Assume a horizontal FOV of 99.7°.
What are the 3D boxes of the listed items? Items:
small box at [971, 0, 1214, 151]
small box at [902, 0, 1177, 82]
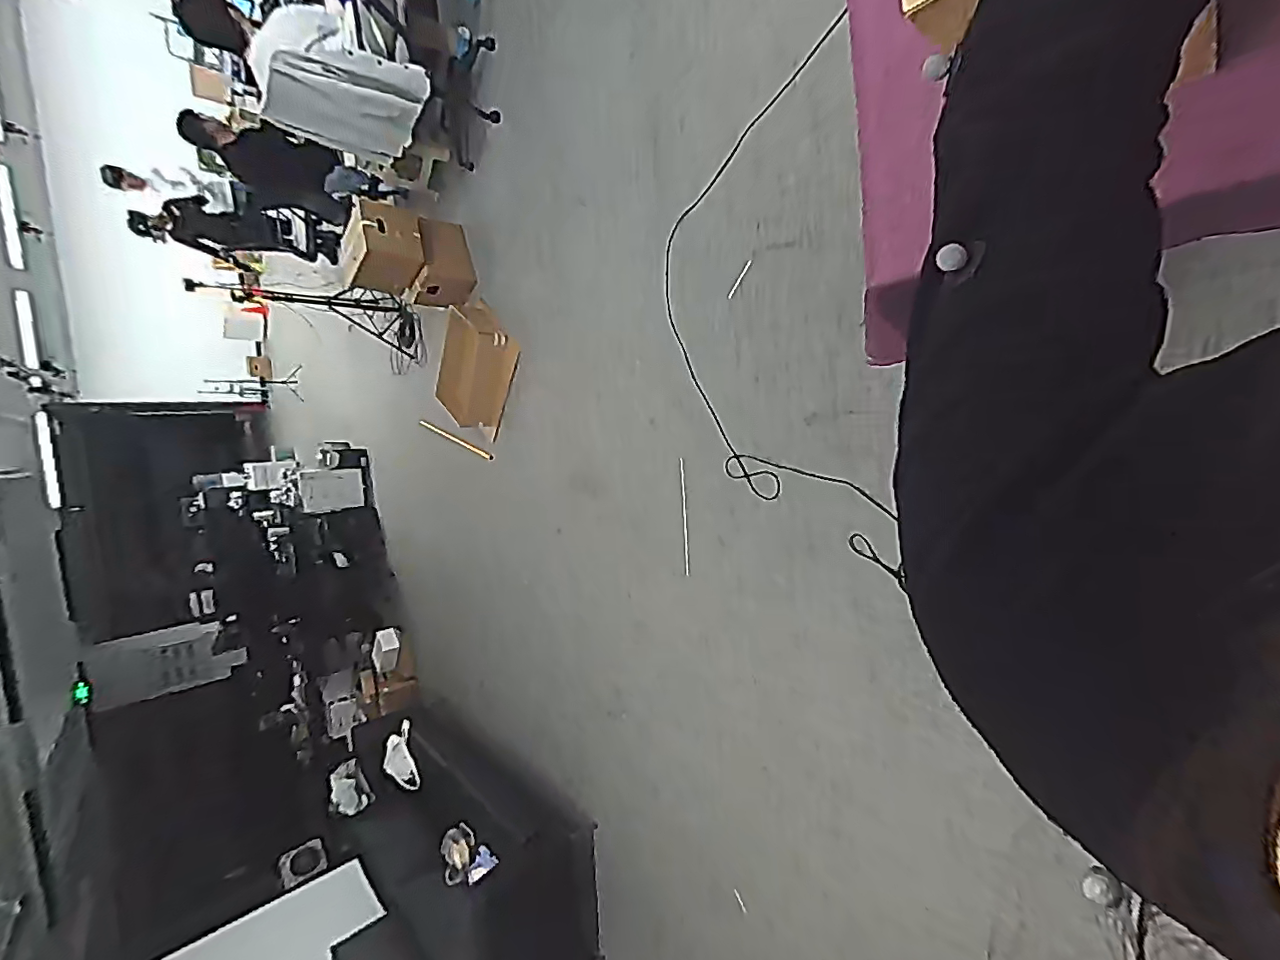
[{"bbox_3d":[0.451,-0.473,0.541,0.168,0.176,0.179,1,96,49],"label":"small box"},{"bbox_3d":[0.327,-0.463,0.433,0.168,0.176,0.179,1,96,48],"label":"small box"}]
